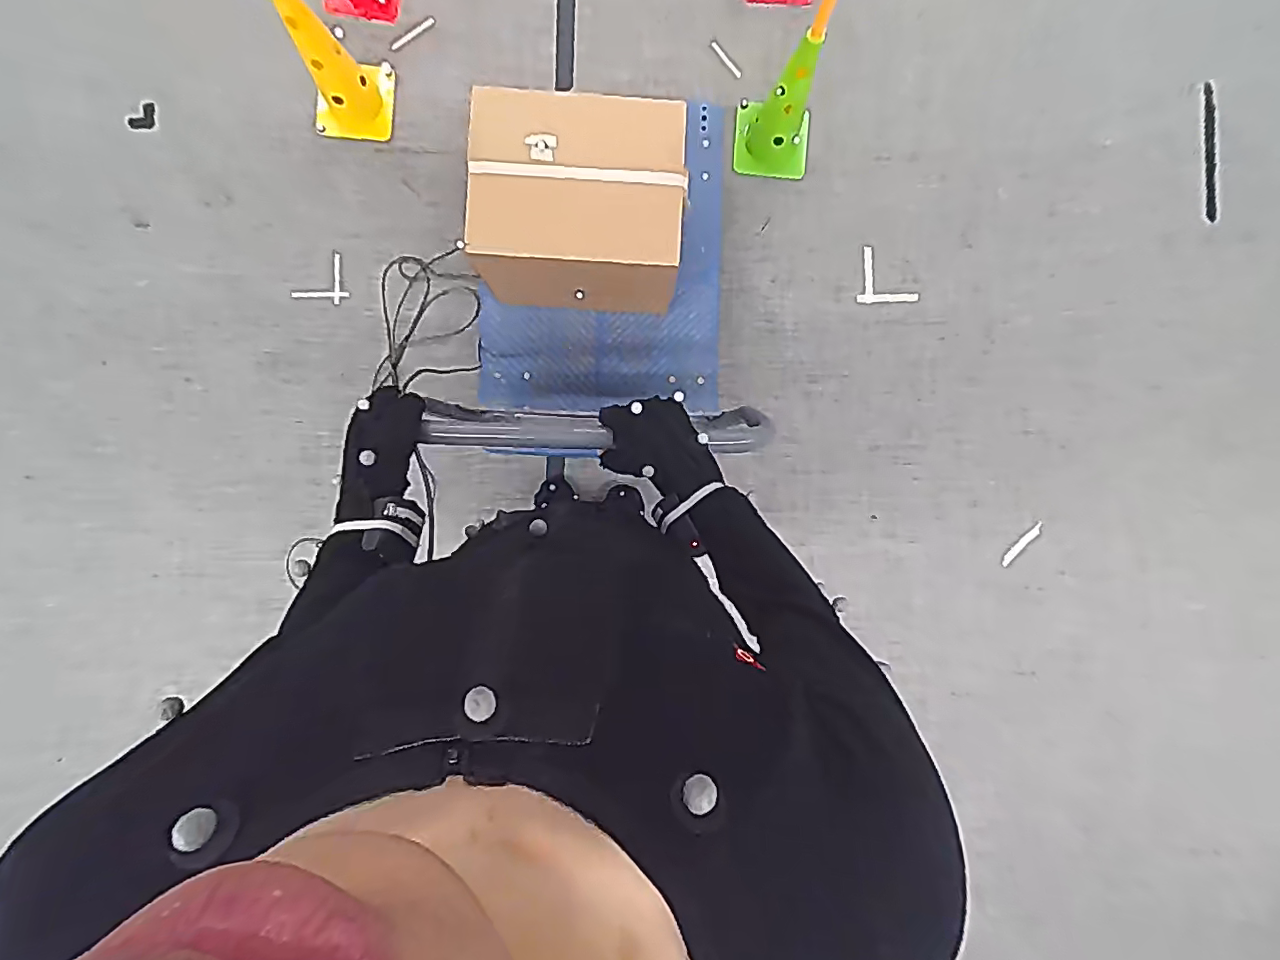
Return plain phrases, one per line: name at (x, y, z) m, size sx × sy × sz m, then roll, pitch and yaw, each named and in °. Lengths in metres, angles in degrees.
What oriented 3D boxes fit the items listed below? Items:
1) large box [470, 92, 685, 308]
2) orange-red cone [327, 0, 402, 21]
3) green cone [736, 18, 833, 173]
large box at (-0.117, -0.570, 1.163) m, size 0.408 × 0.320 × 0.320 m, roll 3°, pitch 90°, yaw 0°
orange-red cone at (-0.731, -1.359, 1.295) m, size 0.198 × 0.360 × 0.199 m, roll 8°, pitch 88°, yaw -2°
green cone at (0.375, -0.952, 1.319) m, size 0.202 × 0.368 × 0.200 m, roll 4°, pitch 90°, yaw -3°
